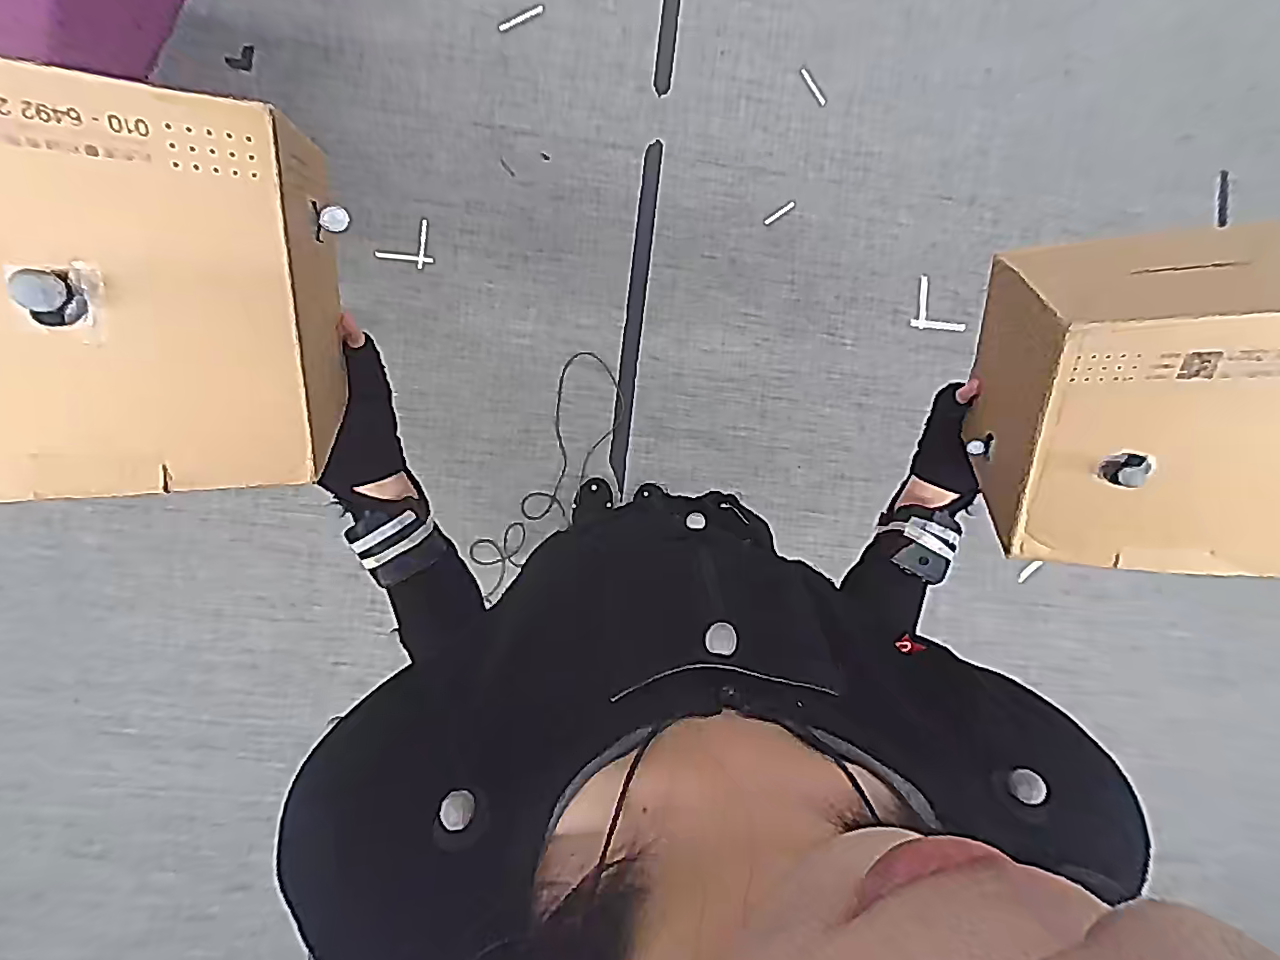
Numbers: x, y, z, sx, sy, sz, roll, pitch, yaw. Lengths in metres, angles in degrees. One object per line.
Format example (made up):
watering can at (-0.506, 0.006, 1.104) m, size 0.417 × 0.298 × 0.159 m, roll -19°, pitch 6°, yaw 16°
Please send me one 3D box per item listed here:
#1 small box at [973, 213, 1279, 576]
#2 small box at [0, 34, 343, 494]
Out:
small box at (0.338, -0.060, 0.350) m, size 0.168 × 0.179 × 0.176 m, roll 3°, pitch 125°, yaw 19°
small box at (-0.257, -0.103, 0.272) m, size 0.168 × 0.179 × 0.176 m, roll -2°, pitch 114°, yaw -22°
